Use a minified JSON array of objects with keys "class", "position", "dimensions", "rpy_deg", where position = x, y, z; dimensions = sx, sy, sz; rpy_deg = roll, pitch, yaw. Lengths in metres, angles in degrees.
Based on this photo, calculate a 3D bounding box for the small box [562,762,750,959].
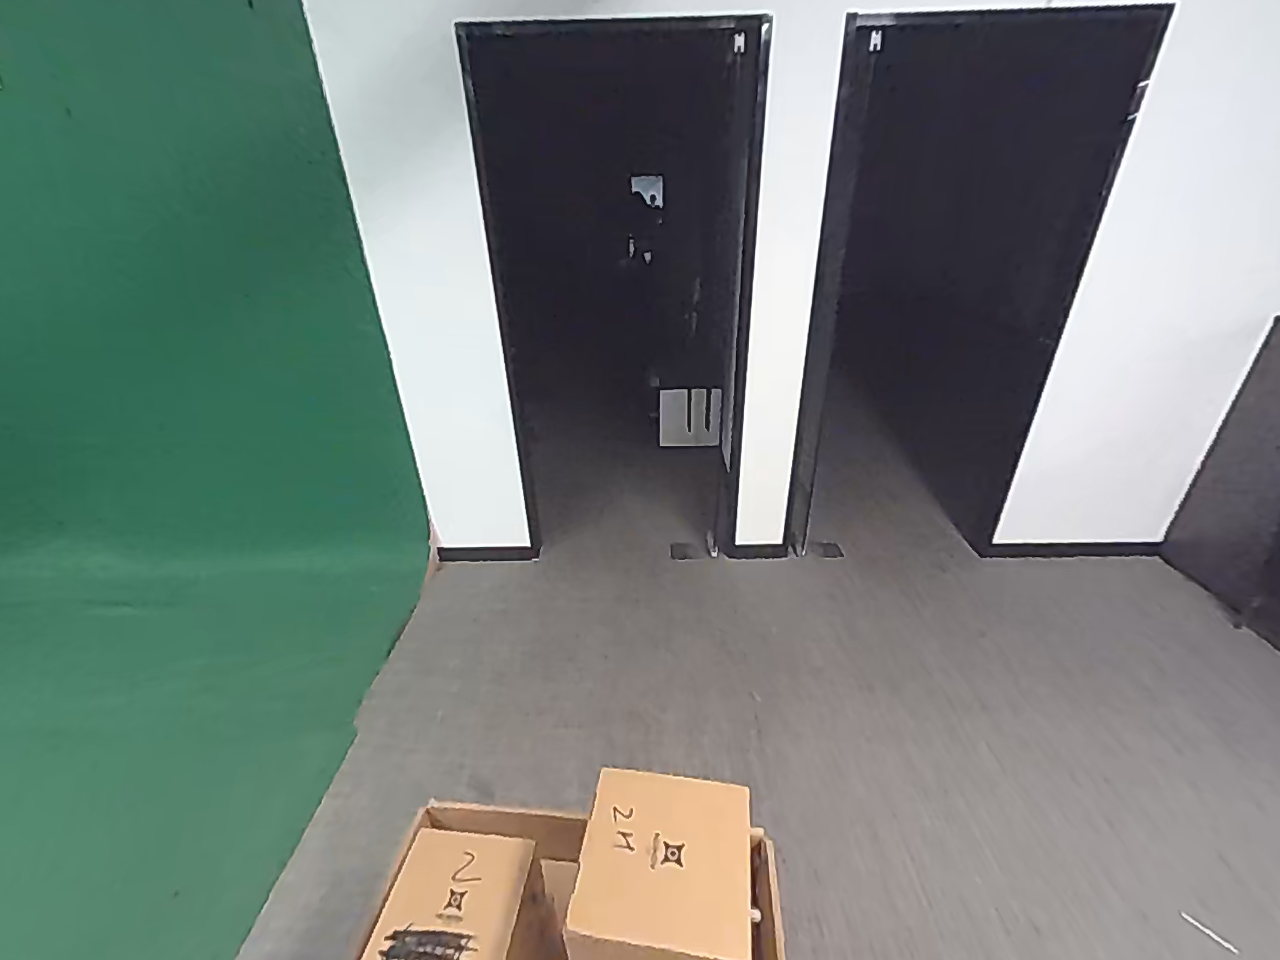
[{"class":"small box","position":[0.029,0.450,0.600],"dimensions":[0.179,0.176,0.168],"rpy_deg":[2,29,11]}]
